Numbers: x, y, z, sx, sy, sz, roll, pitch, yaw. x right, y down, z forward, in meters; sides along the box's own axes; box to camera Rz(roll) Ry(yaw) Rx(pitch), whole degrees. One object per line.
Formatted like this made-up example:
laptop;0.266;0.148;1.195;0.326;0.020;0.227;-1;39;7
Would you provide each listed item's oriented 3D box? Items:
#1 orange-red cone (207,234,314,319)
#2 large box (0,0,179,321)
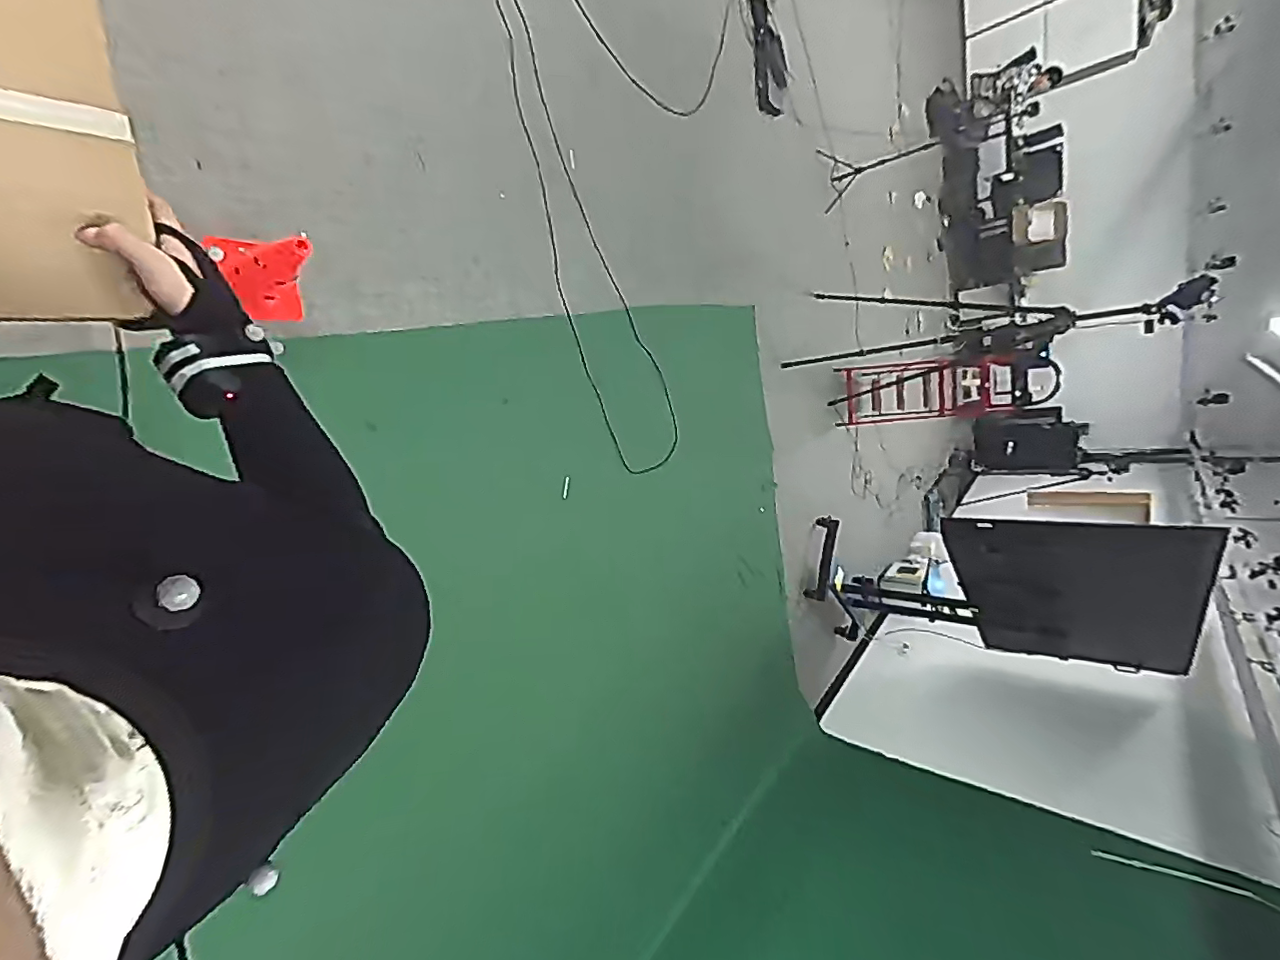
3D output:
orange-red cone;-0.870;-0.521;1.303;0.199;0.360;0.198;-14;103;-49
large box;-0.686;-0.287;0.420;0.408;0.320;0.320;-21;119;-47
